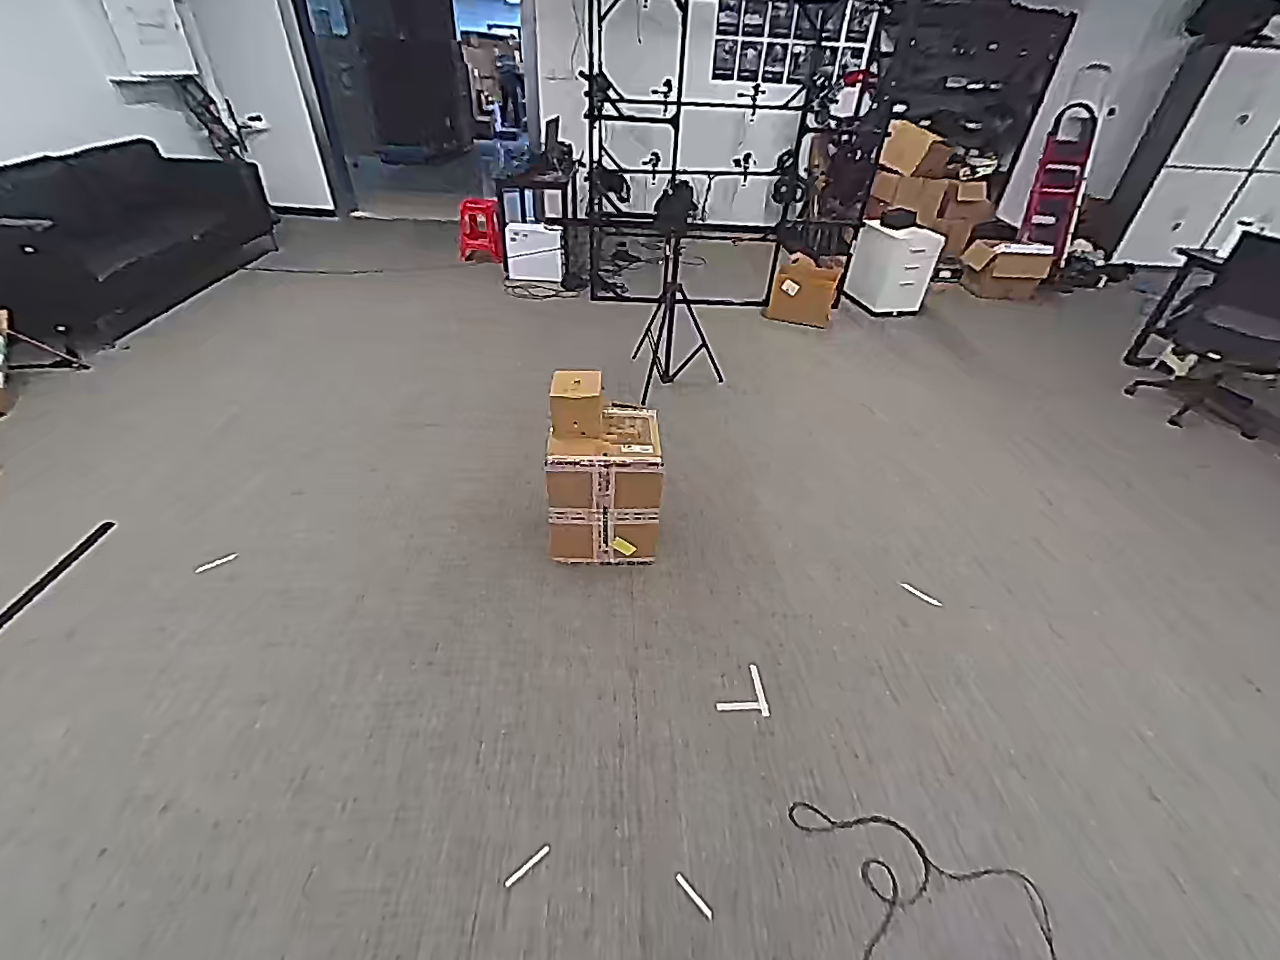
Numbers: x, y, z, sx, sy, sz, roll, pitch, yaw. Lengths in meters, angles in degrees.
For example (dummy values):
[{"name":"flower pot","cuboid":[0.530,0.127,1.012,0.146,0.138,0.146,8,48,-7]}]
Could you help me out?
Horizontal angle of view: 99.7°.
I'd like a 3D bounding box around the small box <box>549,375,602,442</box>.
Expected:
[{"name":"small box","cuboid":[-0.221,-0.250,1.893,0.168,0.176,0.179,0,40,-1]}]
